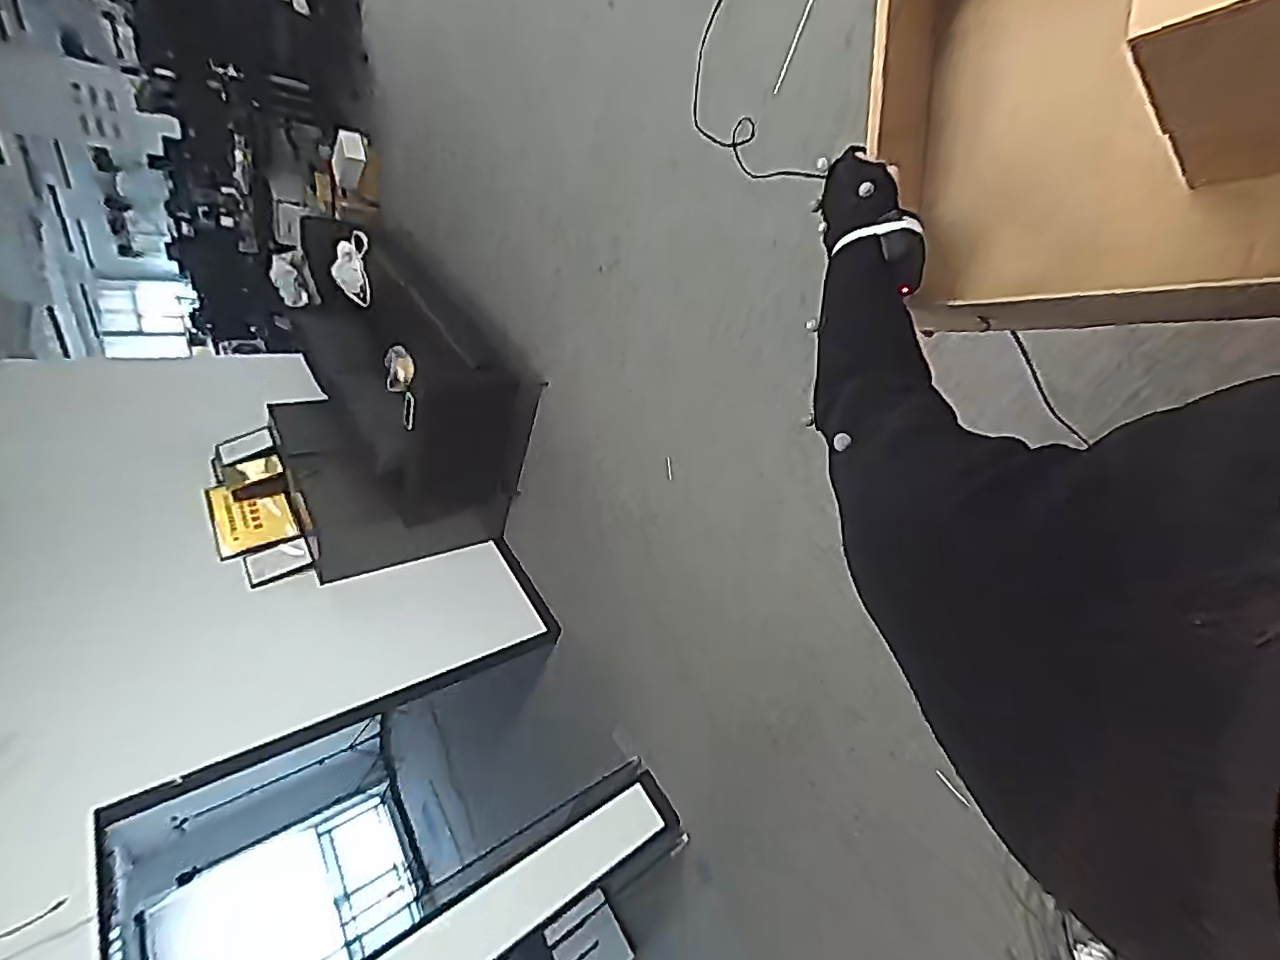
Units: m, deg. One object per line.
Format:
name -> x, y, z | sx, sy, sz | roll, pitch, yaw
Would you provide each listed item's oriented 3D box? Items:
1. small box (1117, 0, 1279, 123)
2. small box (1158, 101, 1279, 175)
small box -> 0.372, -0.310, 0.262 | 0.179, 0.176, 0.168 | 12, 106, 48
small box -> 0.495, -0.333, 0.368 | 0.179, 0.176, 0.168 | 11, 106, 48
